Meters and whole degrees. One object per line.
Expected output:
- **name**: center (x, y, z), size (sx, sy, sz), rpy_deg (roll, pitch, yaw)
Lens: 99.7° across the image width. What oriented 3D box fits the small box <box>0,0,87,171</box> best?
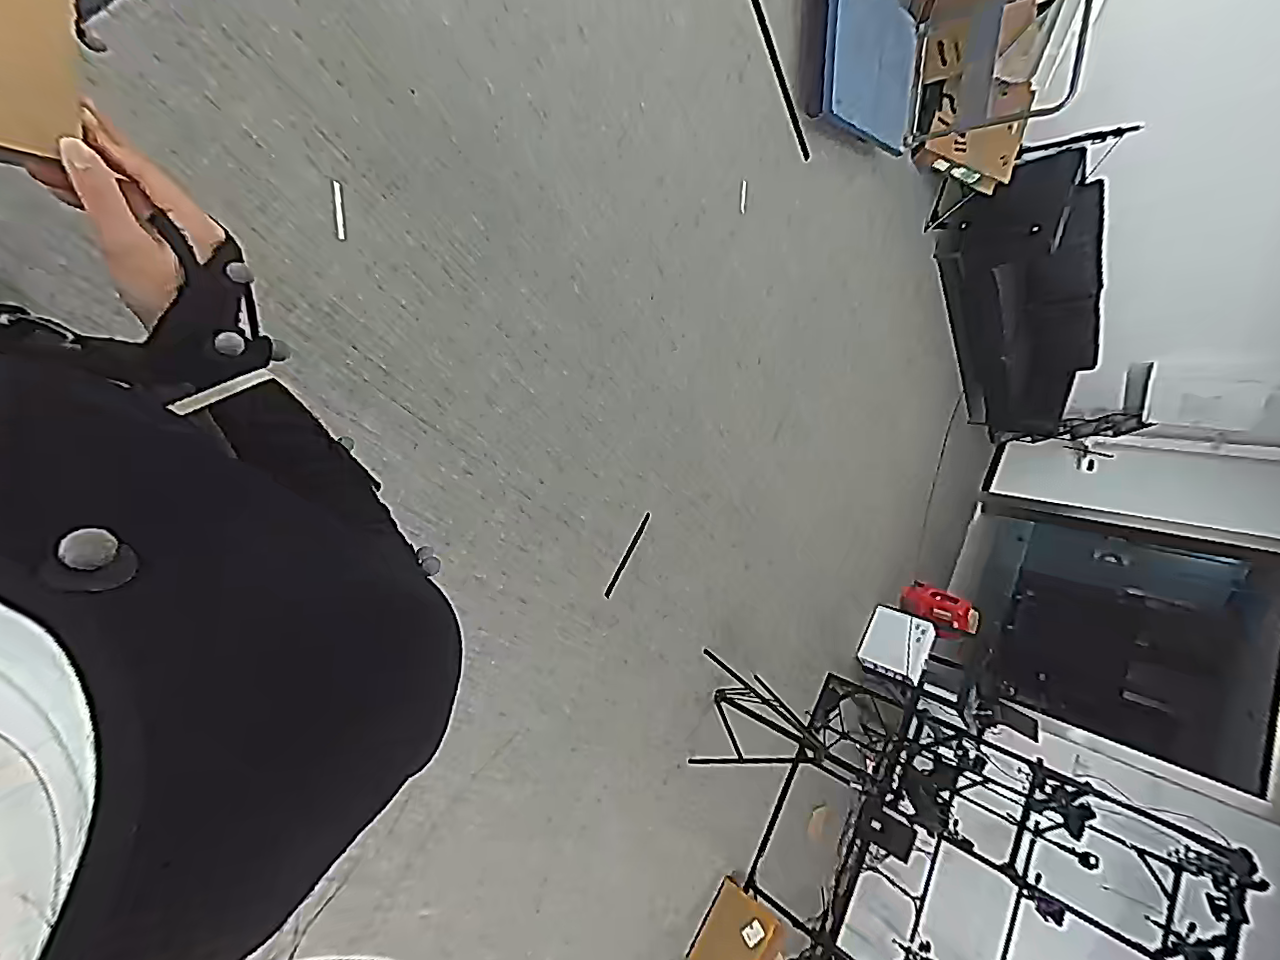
- **small box**: center (-0.406, -0.280, 0.274), size (0.168, 0.176, 0.179), rpy_deg (-4, 112, -46)
